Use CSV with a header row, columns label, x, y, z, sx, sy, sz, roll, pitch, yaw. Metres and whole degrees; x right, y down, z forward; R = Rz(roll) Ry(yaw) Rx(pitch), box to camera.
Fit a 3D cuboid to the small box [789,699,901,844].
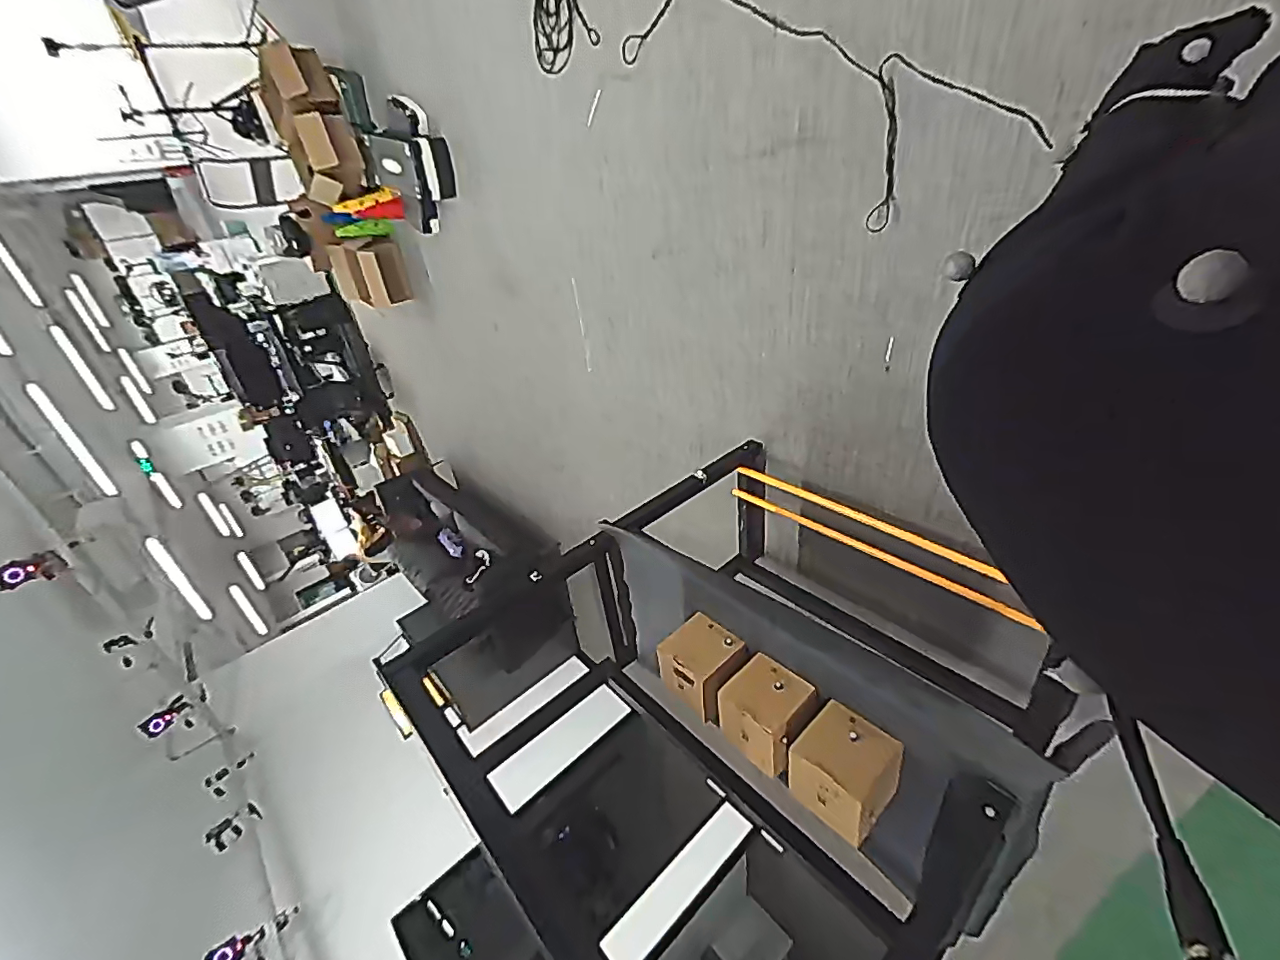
label,x,y,z,sx,sy,sz,roll,pitch,yaw
small box,0.439,0.618,1.163,0.168,0.176,0.179,25,134,44
